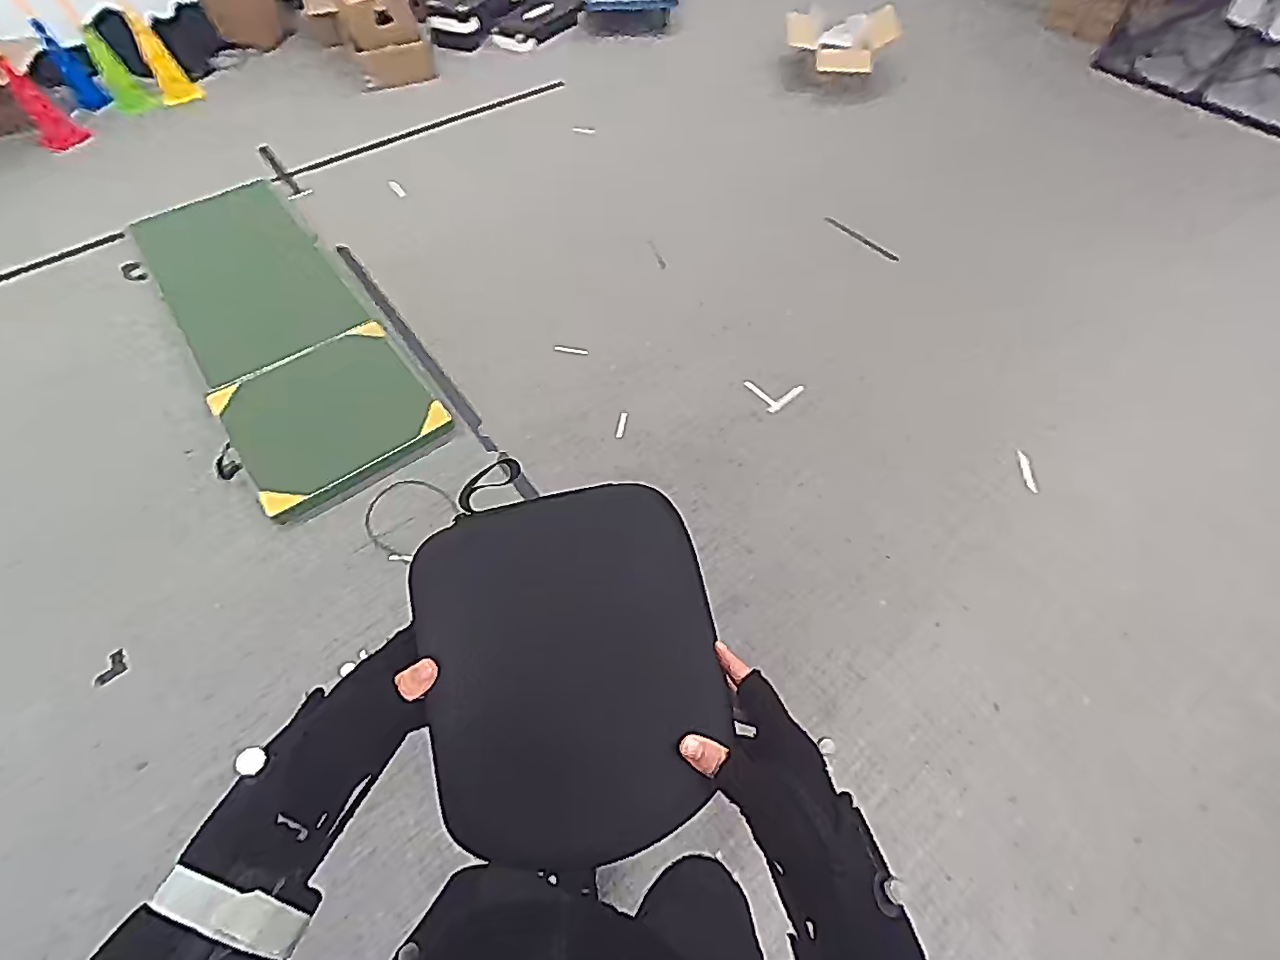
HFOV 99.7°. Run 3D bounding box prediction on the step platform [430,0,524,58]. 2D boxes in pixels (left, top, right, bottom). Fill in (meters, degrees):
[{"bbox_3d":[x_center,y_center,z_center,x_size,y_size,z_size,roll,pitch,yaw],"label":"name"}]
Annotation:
[{"bbox_3d":[-1.019,-2.928,3.415,0.286,0.204,0.684,19,60,11],"label":"step platform"}]
